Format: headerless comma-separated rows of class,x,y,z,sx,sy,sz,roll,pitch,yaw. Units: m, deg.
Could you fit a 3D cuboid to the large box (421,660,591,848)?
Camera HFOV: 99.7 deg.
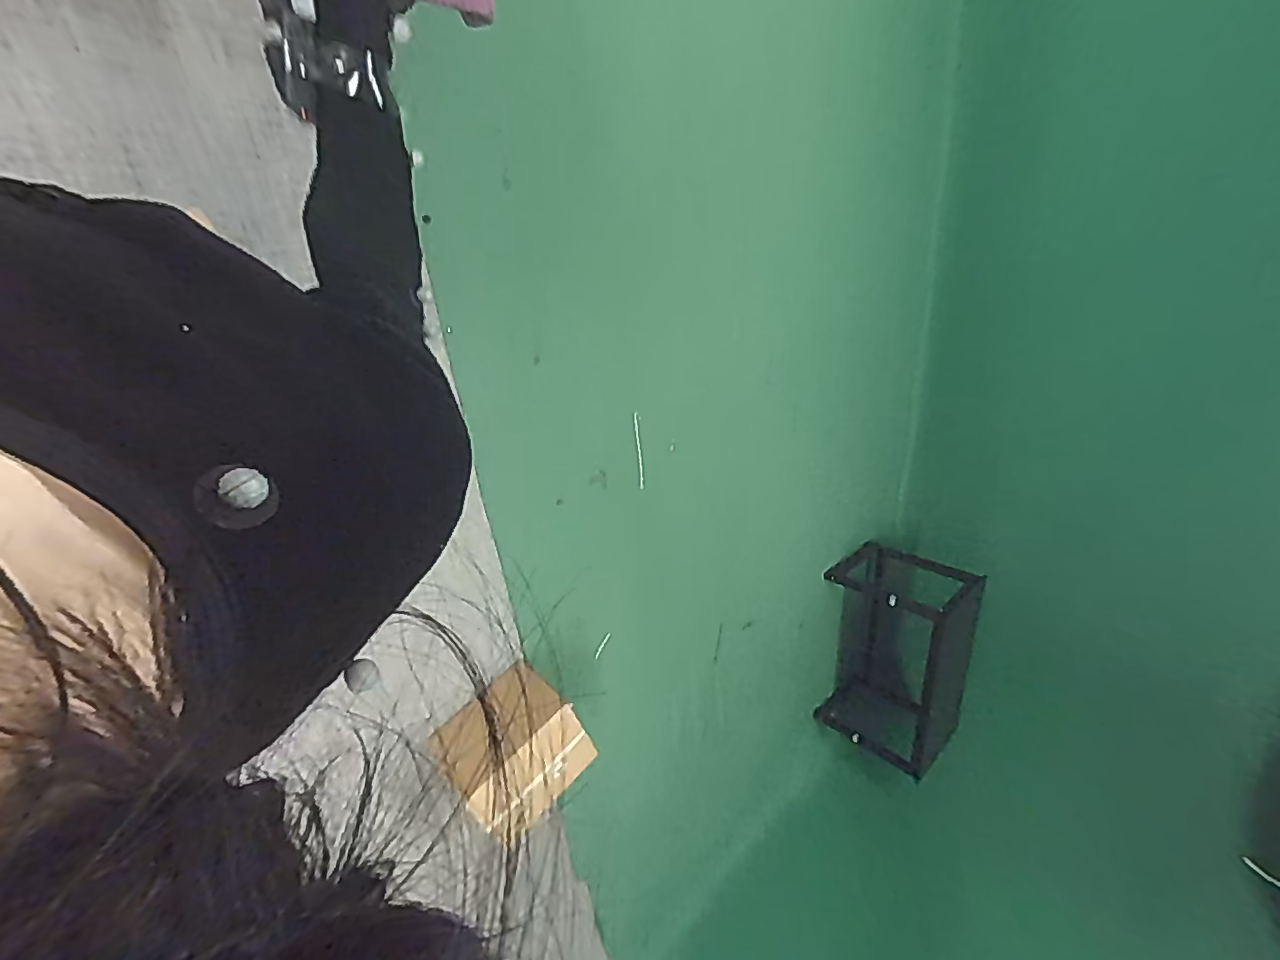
large box,-0.446,0.907,1.832,0.408,0.320,0.320,-39,127,-29
